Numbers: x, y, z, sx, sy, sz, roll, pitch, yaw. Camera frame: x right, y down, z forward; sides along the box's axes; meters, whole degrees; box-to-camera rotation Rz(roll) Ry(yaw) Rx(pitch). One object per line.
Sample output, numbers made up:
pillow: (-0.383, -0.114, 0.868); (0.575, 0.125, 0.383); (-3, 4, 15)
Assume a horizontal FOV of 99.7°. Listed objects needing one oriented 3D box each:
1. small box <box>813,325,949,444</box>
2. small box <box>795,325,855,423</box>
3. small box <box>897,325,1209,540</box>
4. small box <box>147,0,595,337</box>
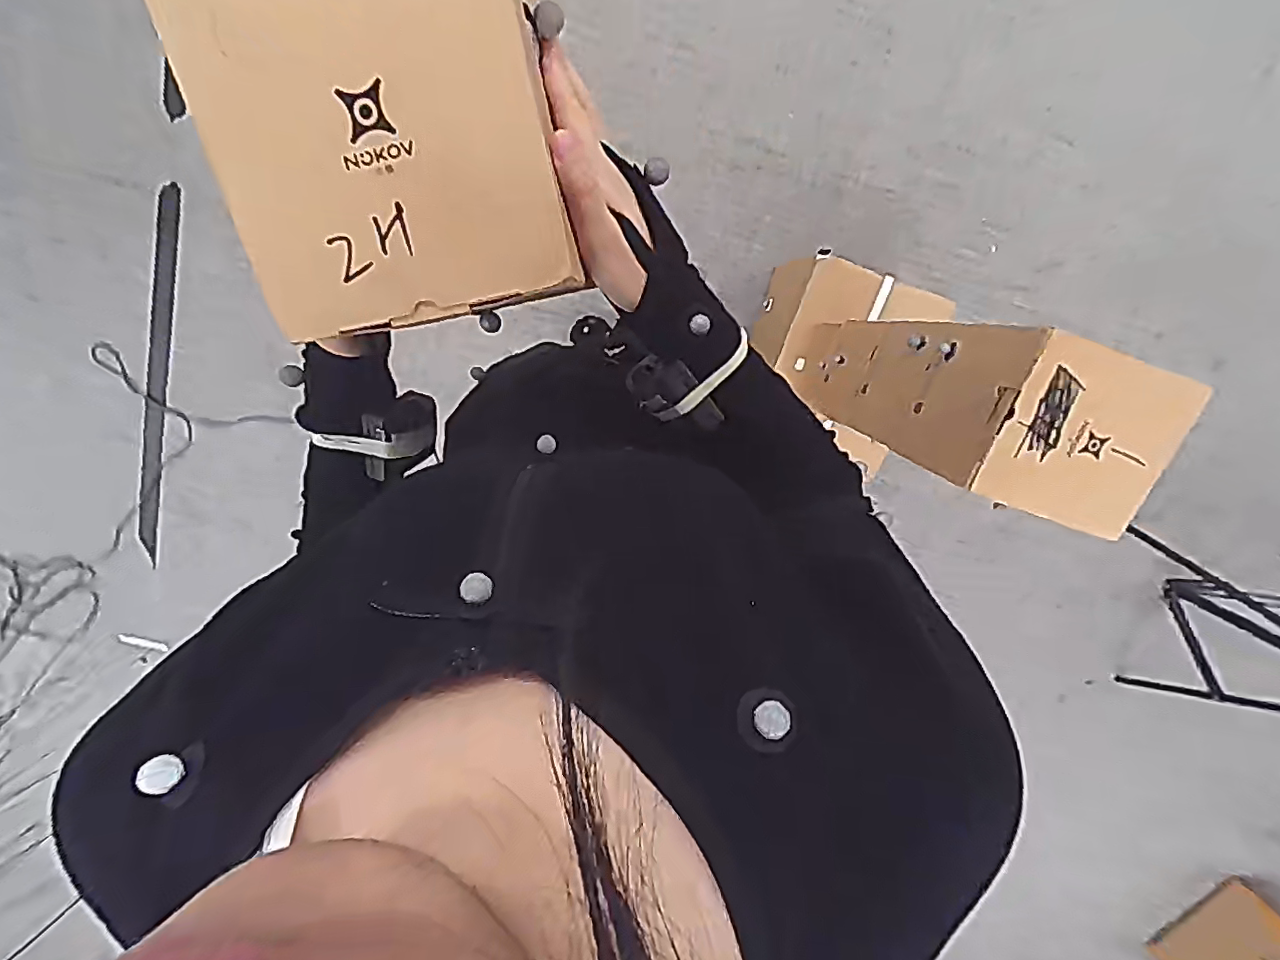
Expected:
small box: (0.421, -0.157, 0.906); (0.179, 0.176, 0.168); (16, 106, -5)
small box: (0.424, -0.199, 1.063); (0.168, 0.176, 0.179); (15, 107, -5)
small box: (0.422, -0.061, 0.592); (0.179, 0.176, 0.168); (18, 106, -7)
small box: (-0.130, -0.197, 0.338); (0.168, 0.176, 0.179); (-11, 109, 5)
